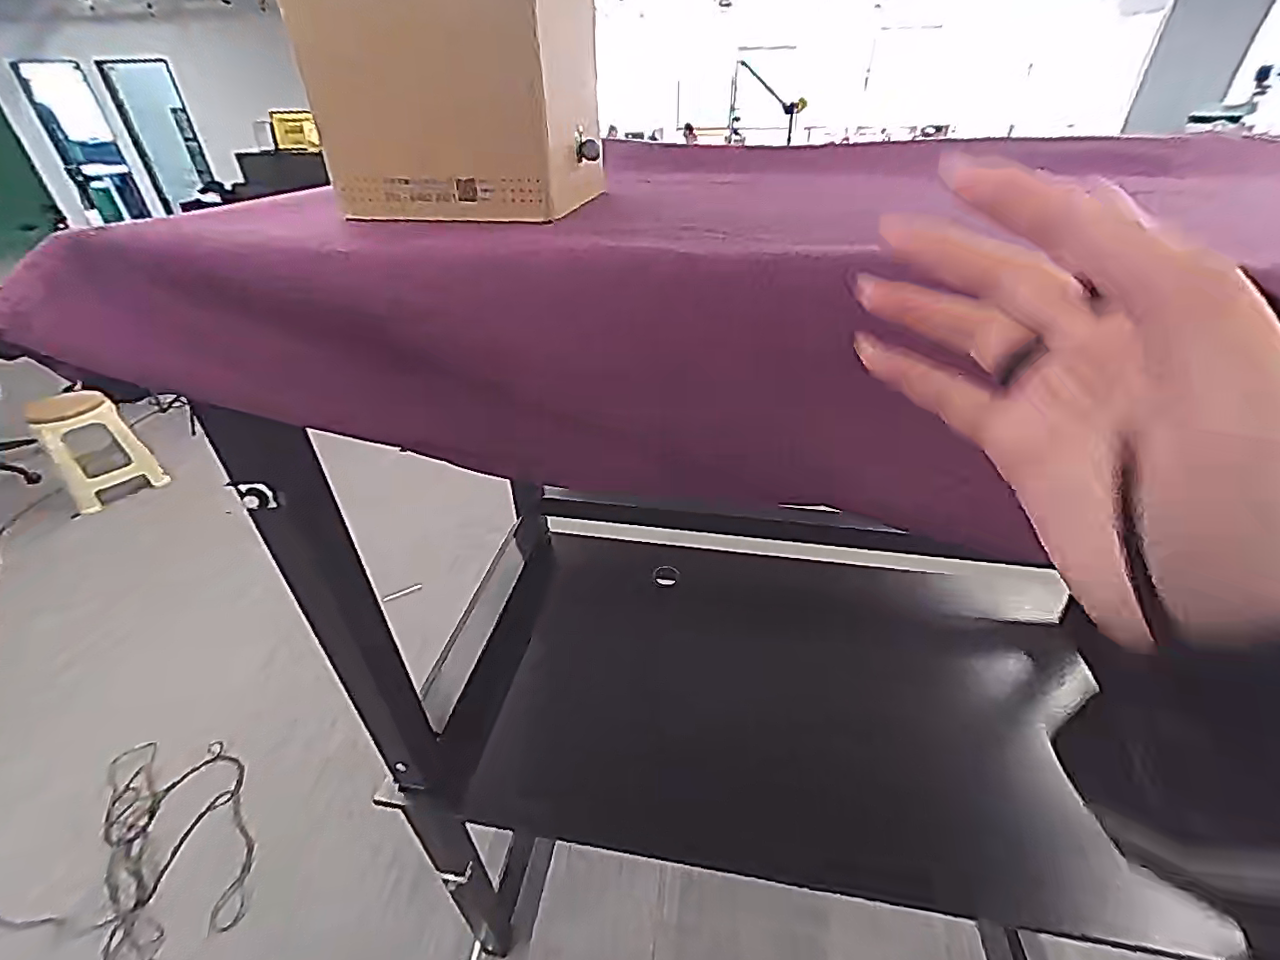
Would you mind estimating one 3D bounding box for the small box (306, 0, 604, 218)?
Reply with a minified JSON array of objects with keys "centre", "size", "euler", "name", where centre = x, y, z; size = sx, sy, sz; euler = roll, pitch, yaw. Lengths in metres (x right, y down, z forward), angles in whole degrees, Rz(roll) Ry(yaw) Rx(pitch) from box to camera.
[{"centre":[-0.123,-0.307,0.413],"size":[0.168,0.176,0.179],"euler":[4,34,8],"name":"small box"}]
